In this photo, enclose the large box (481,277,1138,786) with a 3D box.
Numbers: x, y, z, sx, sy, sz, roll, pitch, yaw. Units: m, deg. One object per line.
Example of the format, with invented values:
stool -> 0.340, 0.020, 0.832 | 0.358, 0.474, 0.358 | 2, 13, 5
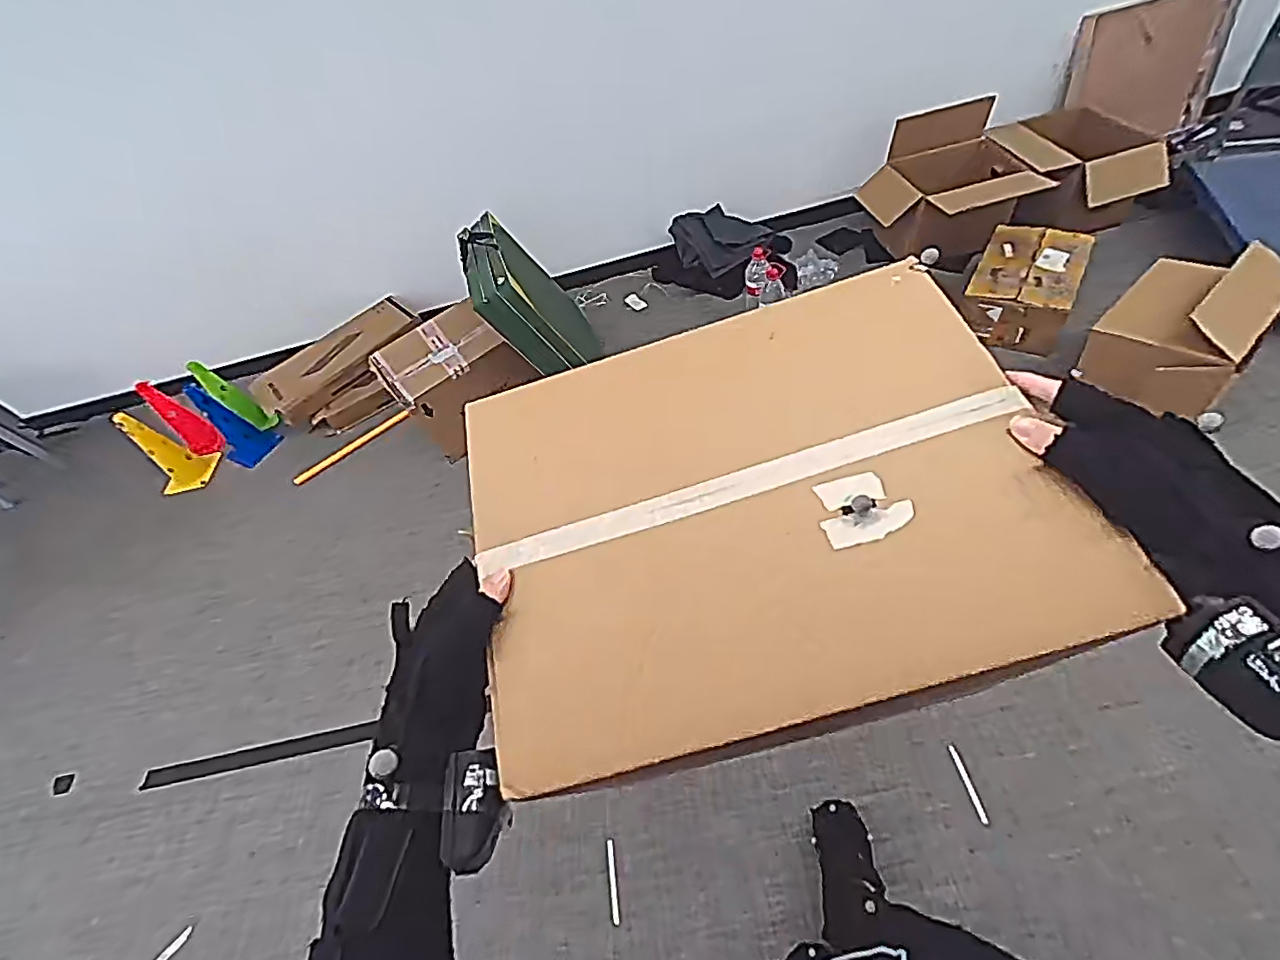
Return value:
large box -> 0.106, 0.077, 0.535 | 0.408, 0.320, 0.320 | -17, 61, 3
